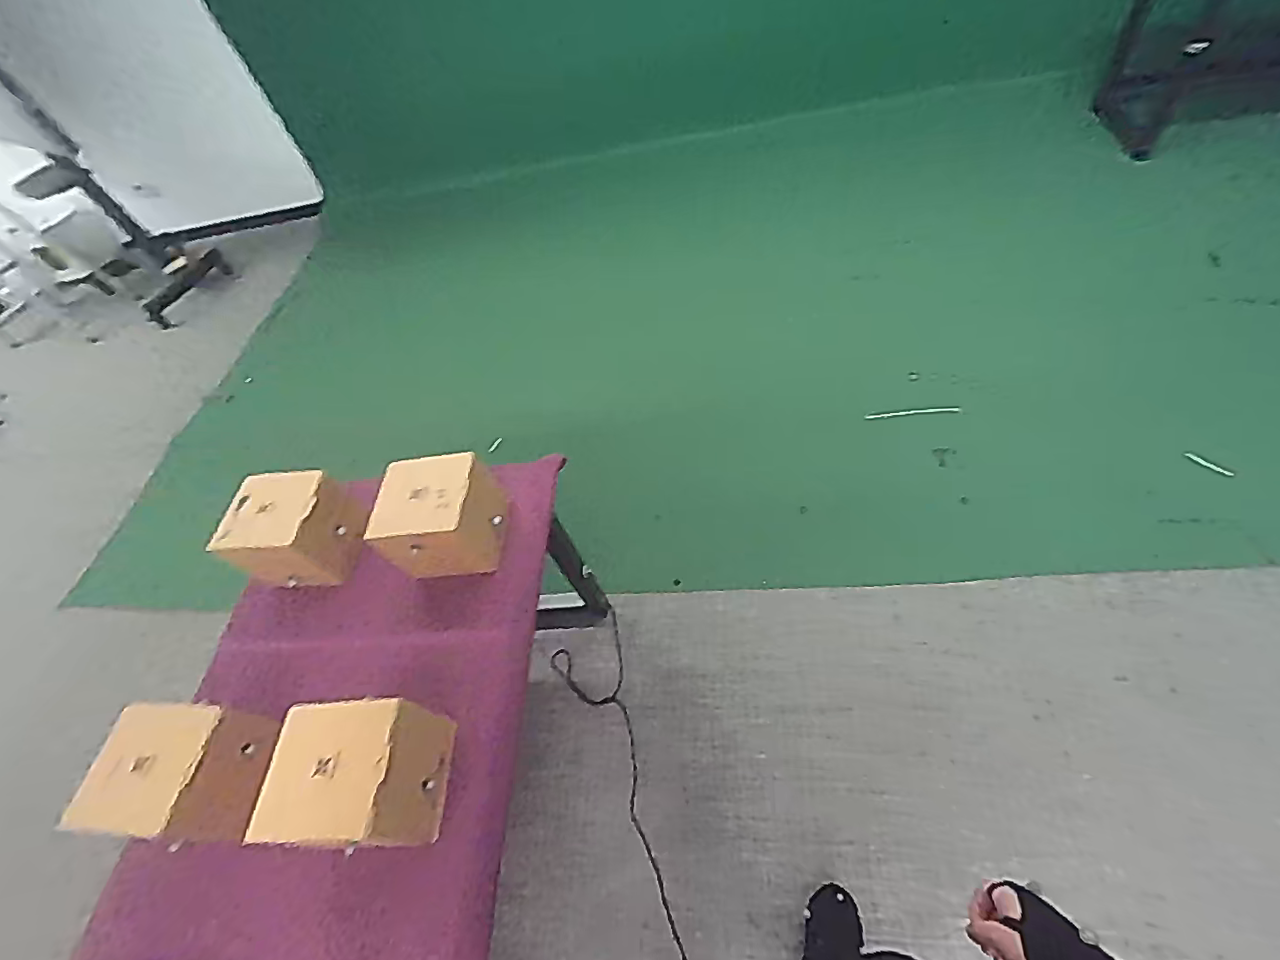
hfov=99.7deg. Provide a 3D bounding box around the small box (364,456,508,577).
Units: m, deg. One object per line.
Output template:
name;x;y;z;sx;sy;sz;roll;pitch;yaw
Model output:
small box;-0.375;0.076;1.027;0.179;0.176;0.168;-6;55;10

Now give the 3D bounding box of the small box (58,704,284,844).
small box;-0.694;0.455;0.834;0.179;0.176;0.168;-3;53;11

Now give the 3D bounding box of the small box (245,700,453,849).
small box;-0.402;0.429;0.782;0.179;0.176;0.168;-8;53;9

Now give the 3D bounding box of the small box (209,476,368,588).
small box;-0.685;0.107;1.081;0.179;0.176;0.168;-3;54;8
